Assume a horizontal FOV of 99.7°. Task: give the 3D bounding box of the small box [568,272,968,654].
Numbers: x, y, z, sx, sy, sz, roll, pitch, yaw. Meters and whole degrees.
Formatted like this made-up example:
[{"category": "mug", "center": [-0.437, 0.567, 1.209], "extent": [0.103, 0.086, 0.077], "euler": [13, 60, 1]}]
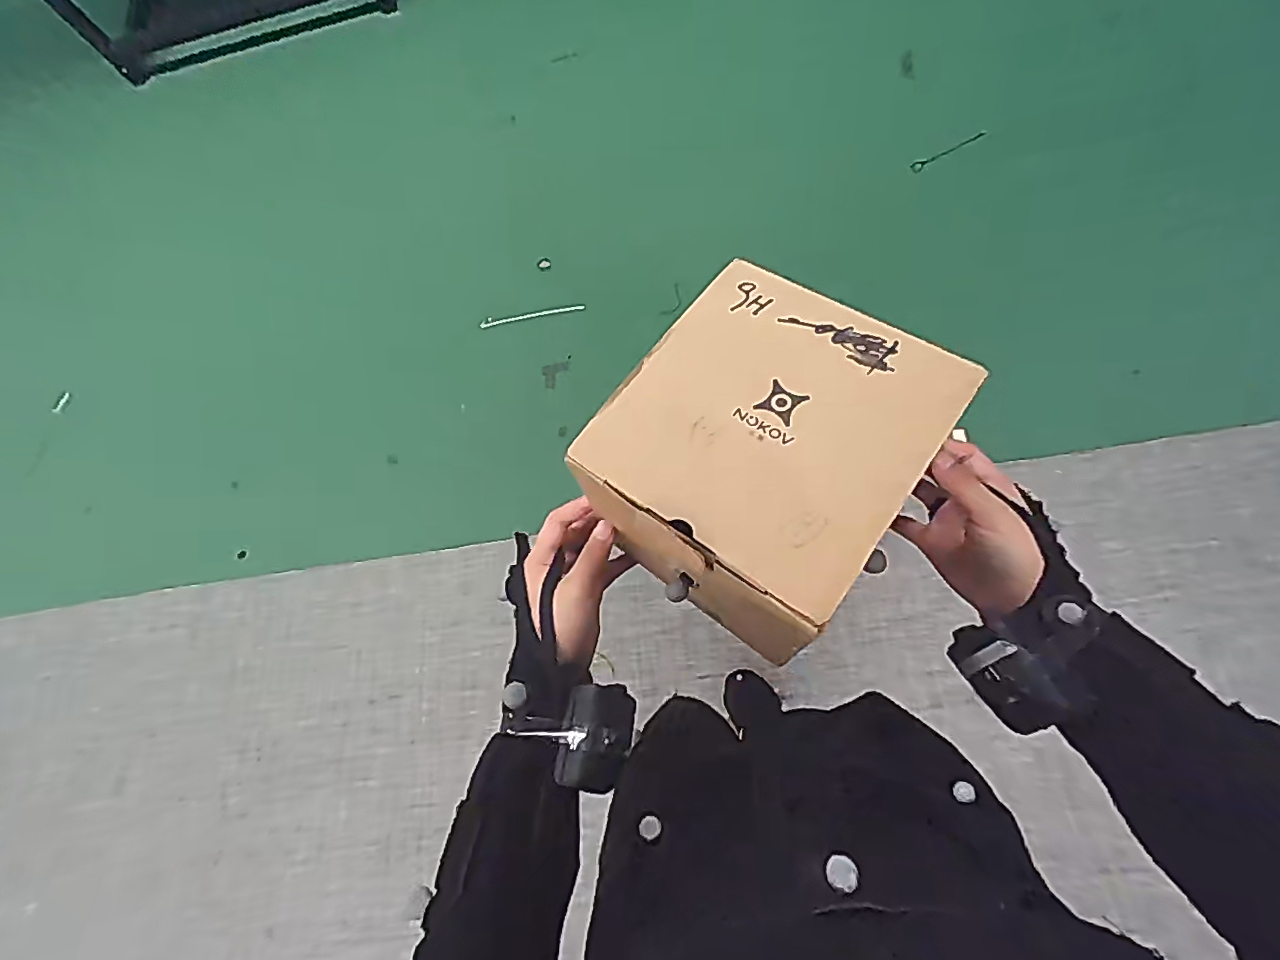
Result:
[{"category": "small box", "center": [0.082, 0.000, 0.382], "extent": [0.168, 0.176, 0.179], "euler": [34, 75, 20]}]
